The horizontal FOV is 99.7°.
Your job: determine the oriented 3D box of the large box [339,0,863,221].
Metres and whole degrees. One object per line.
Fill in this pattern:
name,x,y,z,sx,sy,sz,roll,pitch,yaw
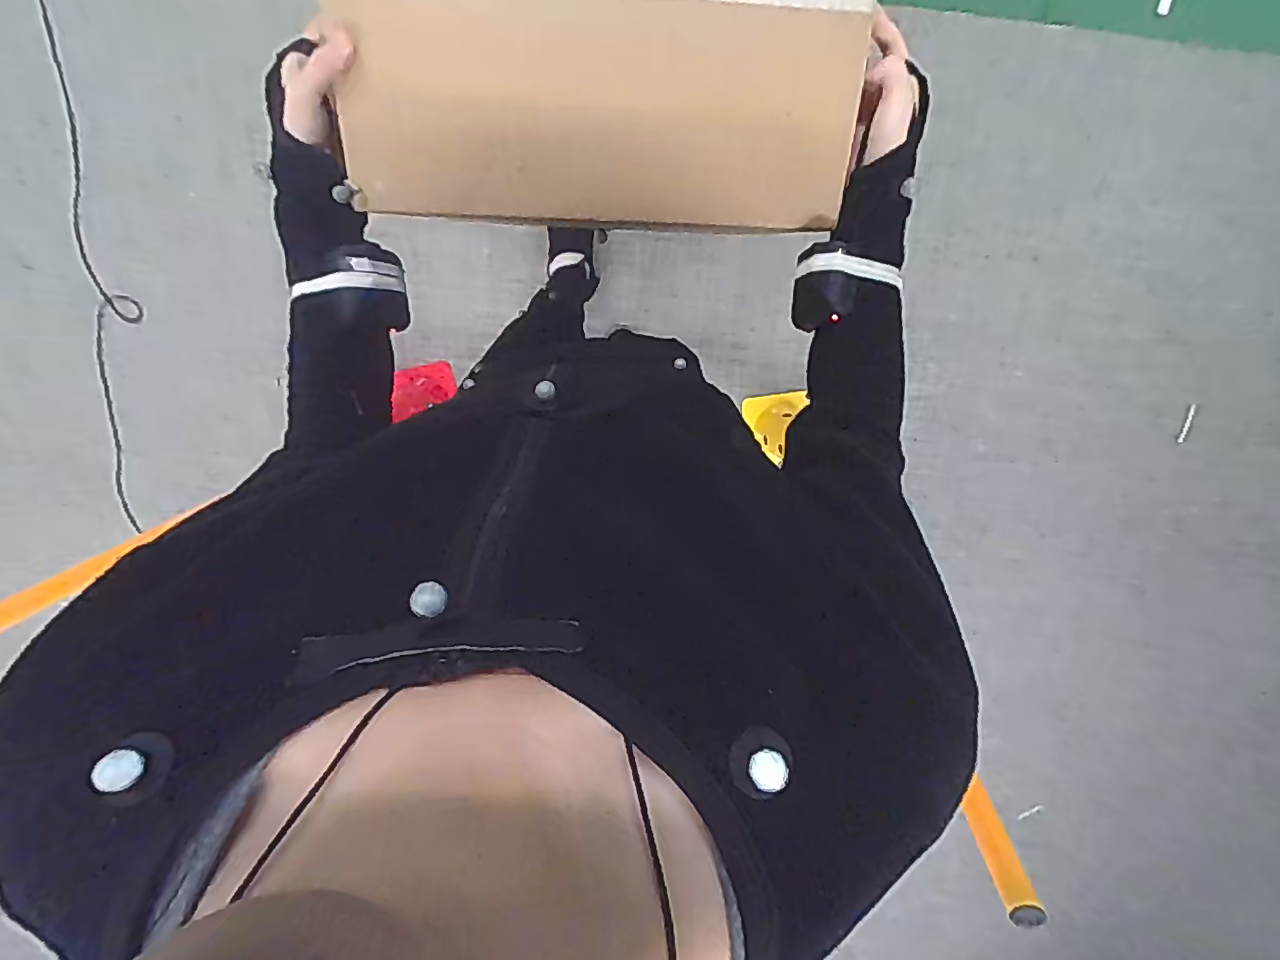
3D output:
large box,-0.031,-0.433,0.539,0.408,0.320,0.320,1,113,-4
